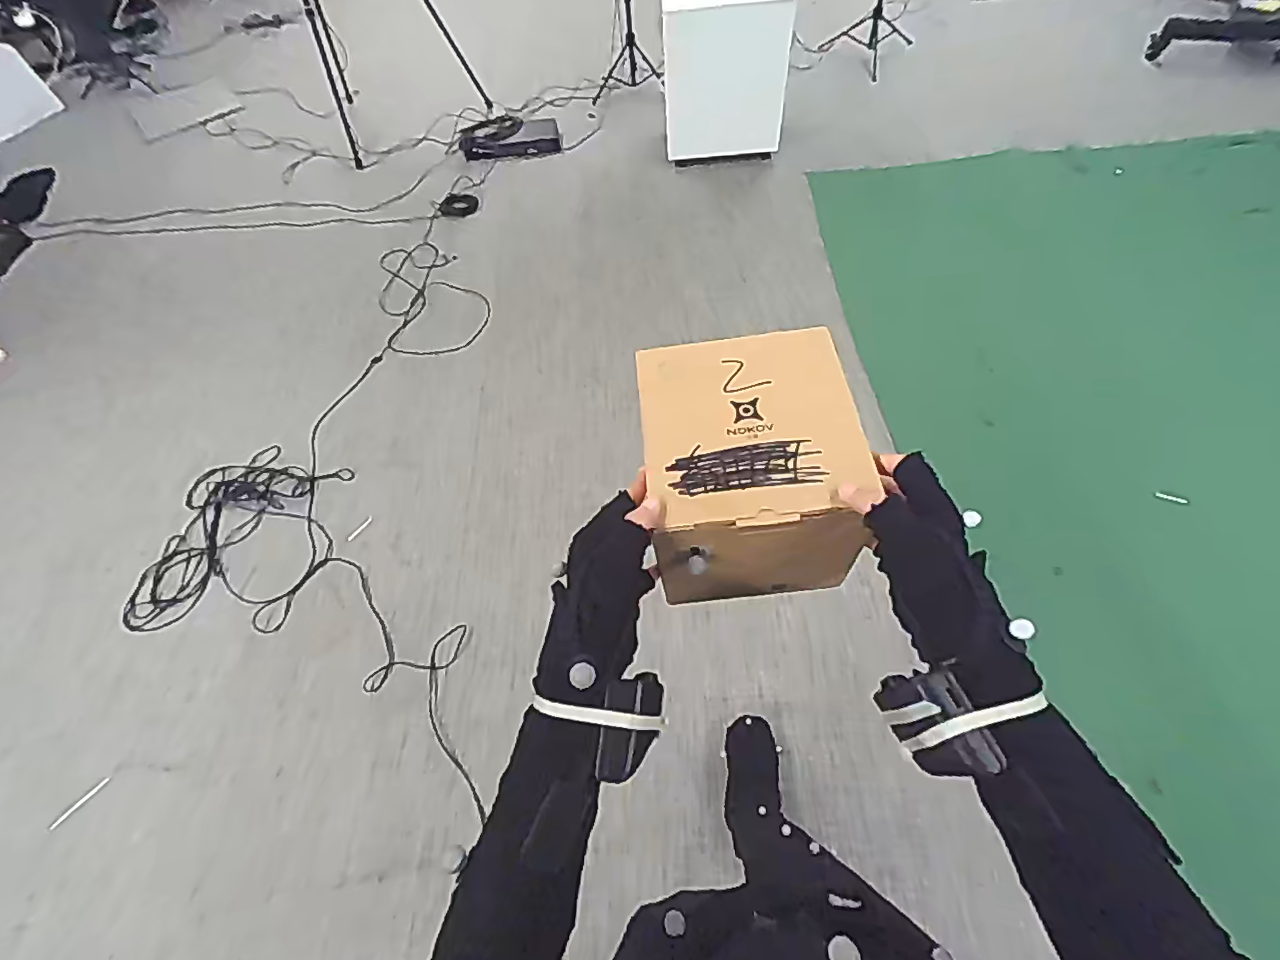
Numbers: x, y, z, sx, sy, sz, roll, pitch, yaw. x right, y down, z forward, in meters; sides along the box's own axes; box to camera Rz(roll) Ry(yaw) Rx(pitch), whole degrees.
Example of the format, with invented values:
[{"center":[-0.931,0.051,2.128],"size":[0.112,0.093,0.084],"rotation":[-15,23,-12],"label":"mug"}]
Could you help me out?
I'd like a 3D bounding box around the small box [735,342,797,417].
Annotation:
[{"center":[0.408,-0.328,1.781],"size":[0.168,0.176,0.179],"rotation":[-4,58,4],"label":"small box"}]
